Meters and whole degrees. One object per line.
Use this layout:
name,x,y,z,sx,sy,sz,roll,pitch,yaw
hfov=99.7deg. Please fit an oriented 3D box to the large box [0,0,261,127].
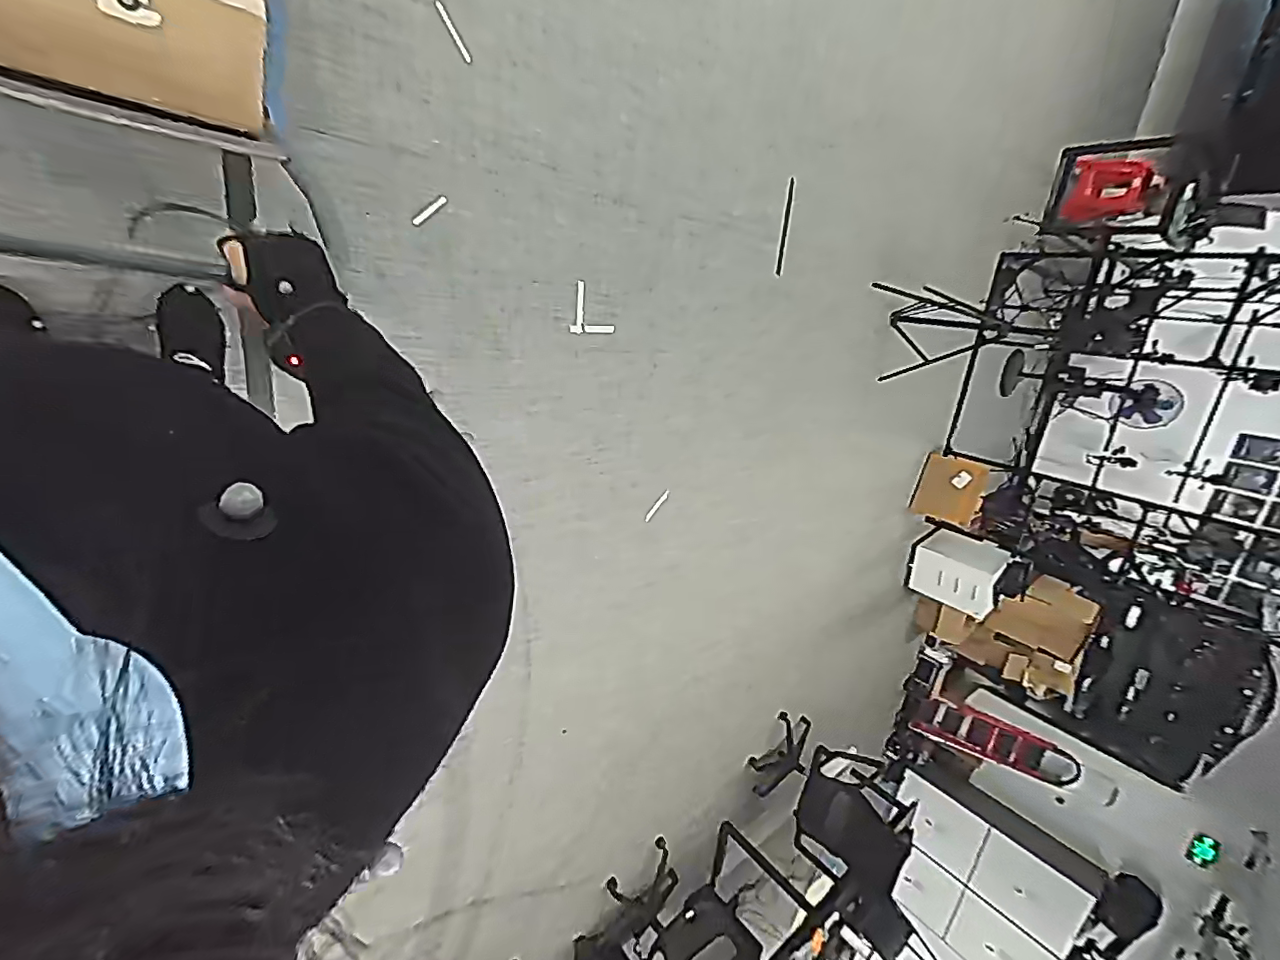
large box,-0.755,-0.706,0.685,0.408,0.320,0.320,-8,130,-42
